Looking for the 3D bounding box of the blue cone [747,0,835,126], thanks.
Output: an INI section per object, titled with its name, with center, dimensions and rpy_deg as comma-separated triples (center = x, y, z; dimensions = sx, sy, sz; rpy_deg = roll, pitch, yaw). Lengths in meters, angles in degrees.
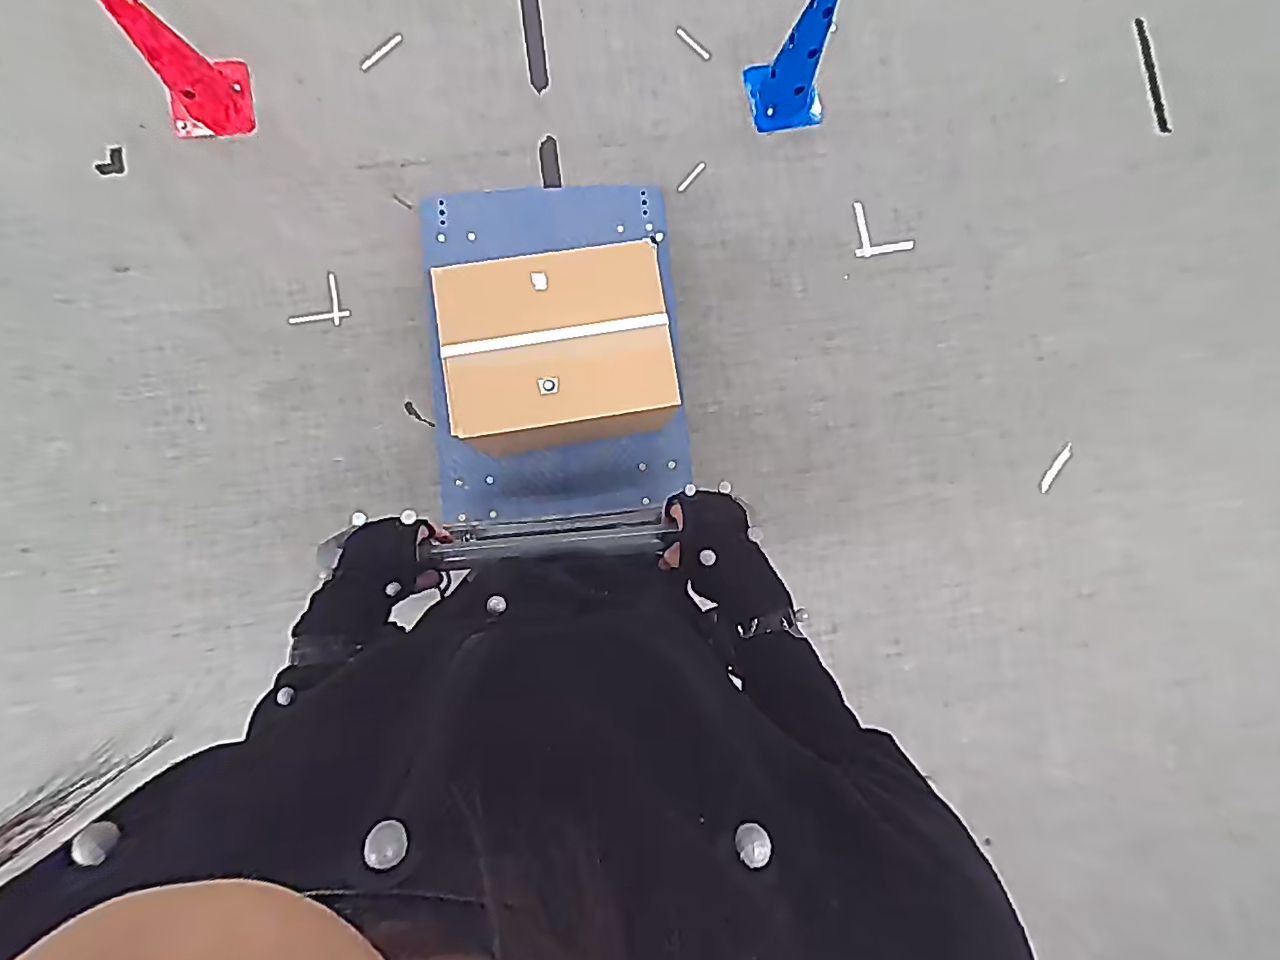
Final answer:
[blue cone]
center = 0.422, -1.116, 1.376
dimensions = 0.193, 0.380, 0.192
rpy_deg = -12, 86, -5
